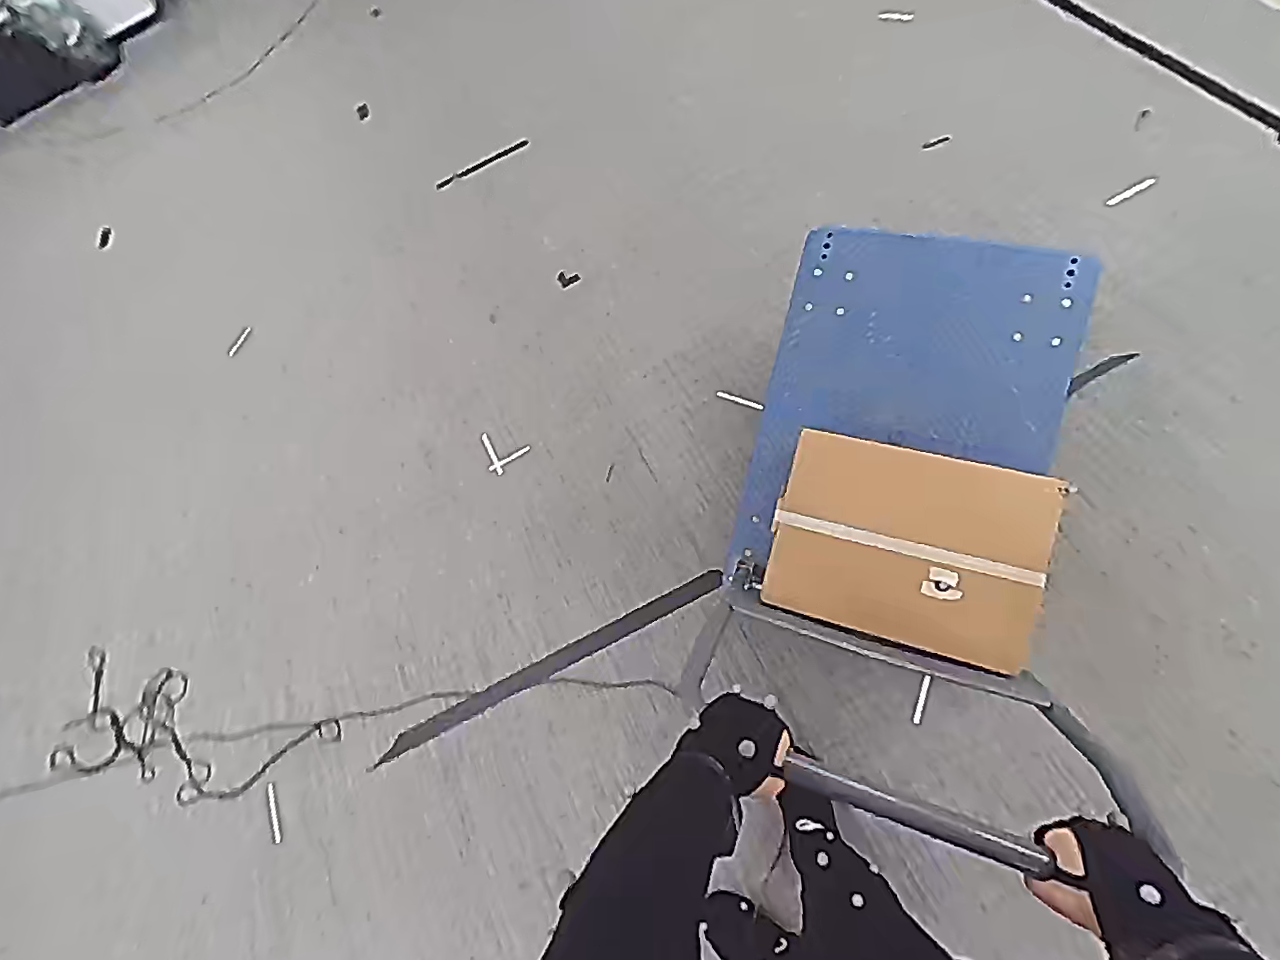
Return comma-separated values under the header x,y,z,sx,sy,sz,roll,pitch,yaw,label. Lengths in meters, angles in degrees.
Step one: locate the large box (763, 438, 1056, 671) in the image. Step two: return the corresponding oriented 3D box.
x,y,z,sx,sy,sz,roll,pitch,yaw,label
0.471,0.120,1.044,0.408,0.320,0.320,14,92,15,large box
